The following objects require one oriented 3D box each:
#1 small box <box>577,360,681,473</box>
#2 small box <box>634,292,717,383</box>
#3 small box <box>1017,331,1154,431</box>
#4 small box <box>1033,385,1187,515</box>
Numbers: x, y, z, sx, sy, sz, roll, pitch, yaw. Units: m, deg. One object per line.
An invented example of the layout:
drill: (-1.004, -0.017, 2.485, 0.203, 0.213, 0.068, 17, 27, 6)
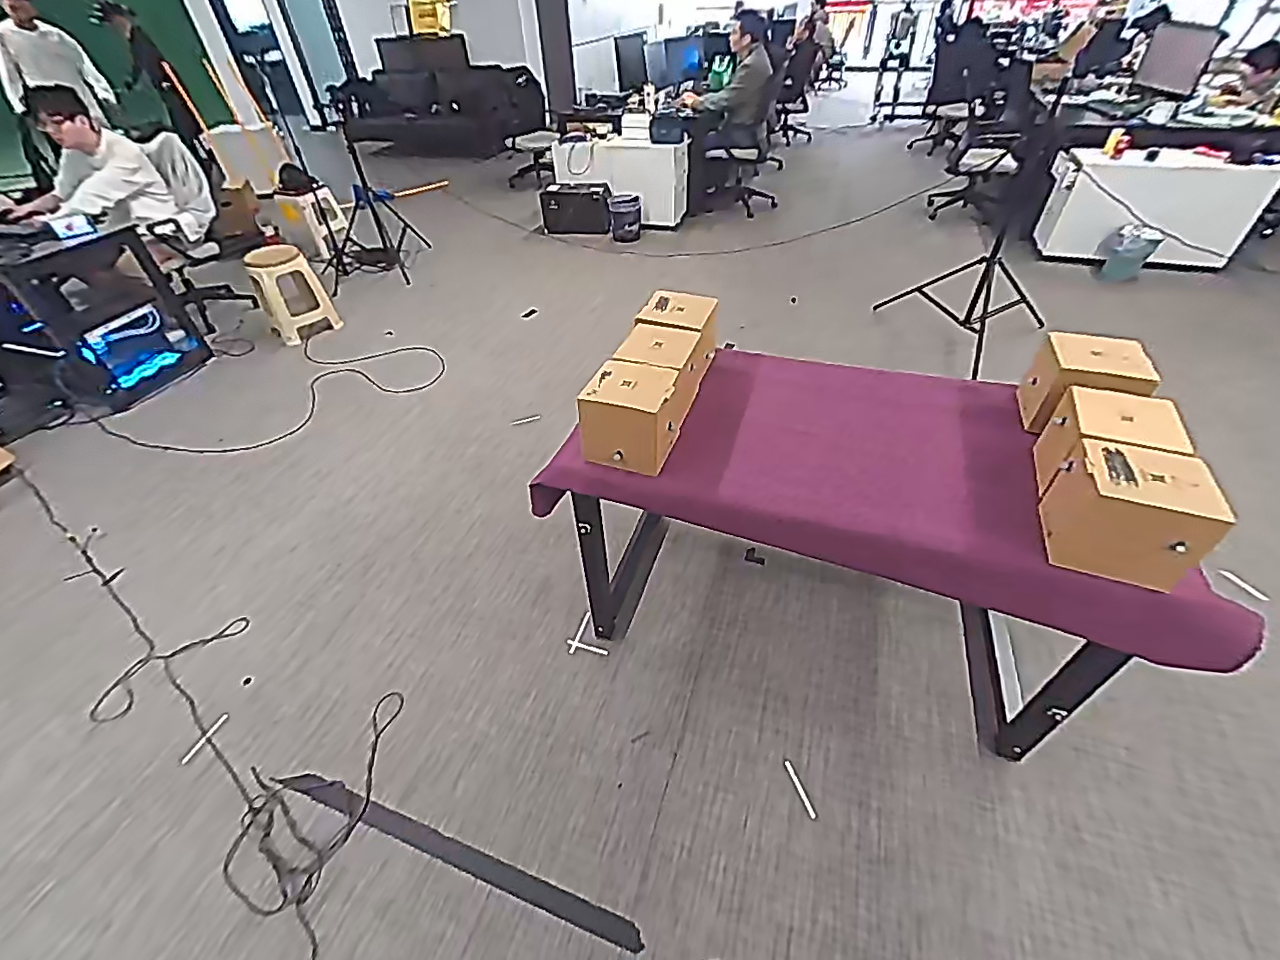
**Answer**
small box: (-0.019, -0.136, 1.184, 0.179, 0.176, 0.168, 13, 44, 15)
small box: (0.096, -0.377, 1.437, 0.179, 0.176, 0.168, 14, 47, 16)
small box: (0.972, -0.208, 1.203, 0.179, 0.176, 0.168, 13, 46, 16)
small box: (0.899, -0.059, 1.055, 0.168, 0.176, 0.179, 15, 45, 20)
